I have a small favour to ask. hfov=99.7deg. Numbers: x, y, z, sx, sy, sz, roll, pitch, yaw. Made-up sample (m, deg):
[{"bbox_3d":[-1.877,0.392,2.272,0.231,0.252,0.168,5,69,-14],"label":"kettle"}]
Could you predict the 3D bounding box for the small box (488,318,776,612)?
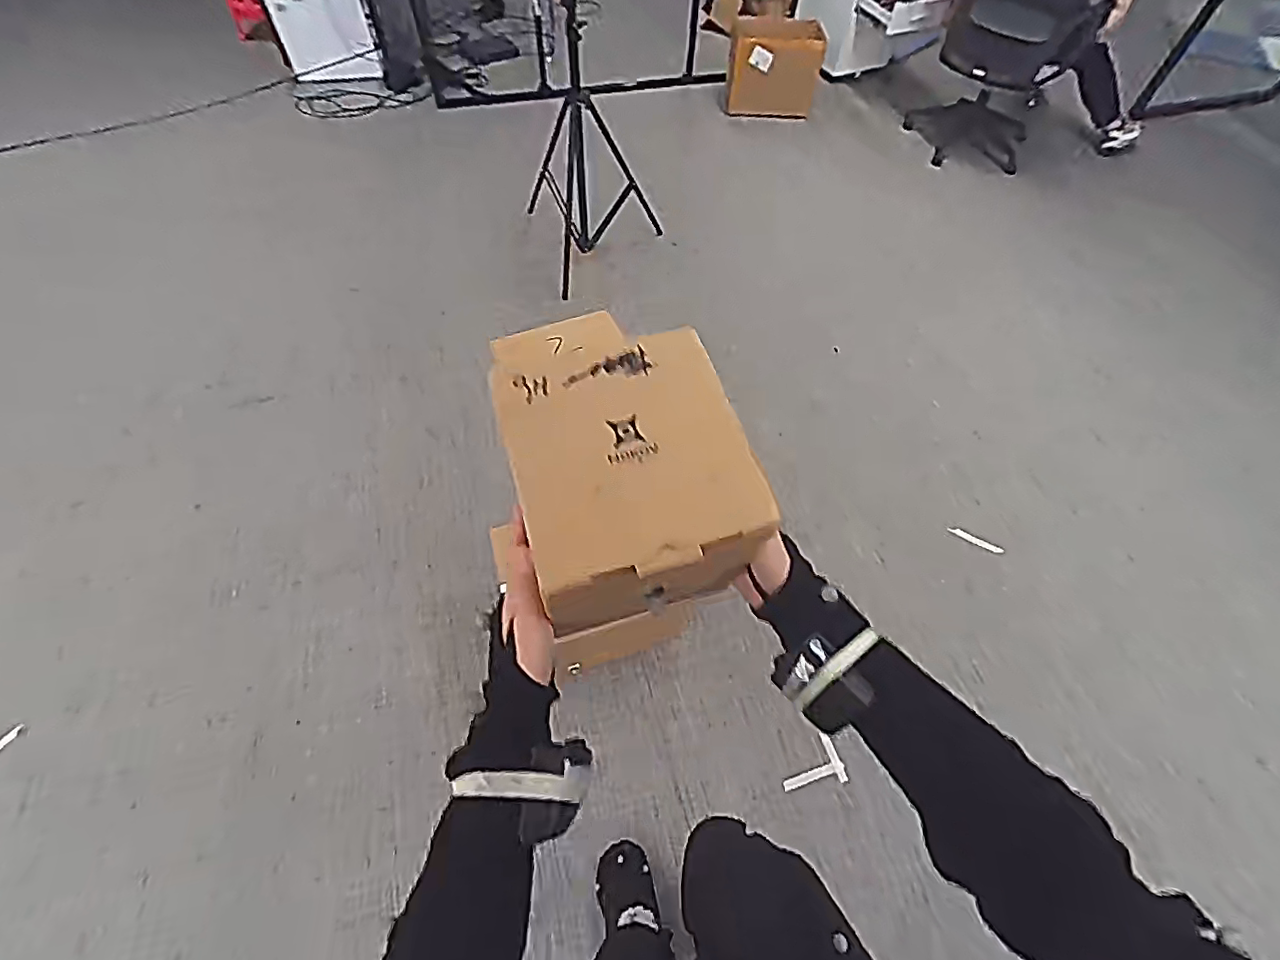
[{"bbox_3d":[-0.016,0.000,0.448,0.168,0.176,0.179,-14,68,-13],"label":"small box"}]
